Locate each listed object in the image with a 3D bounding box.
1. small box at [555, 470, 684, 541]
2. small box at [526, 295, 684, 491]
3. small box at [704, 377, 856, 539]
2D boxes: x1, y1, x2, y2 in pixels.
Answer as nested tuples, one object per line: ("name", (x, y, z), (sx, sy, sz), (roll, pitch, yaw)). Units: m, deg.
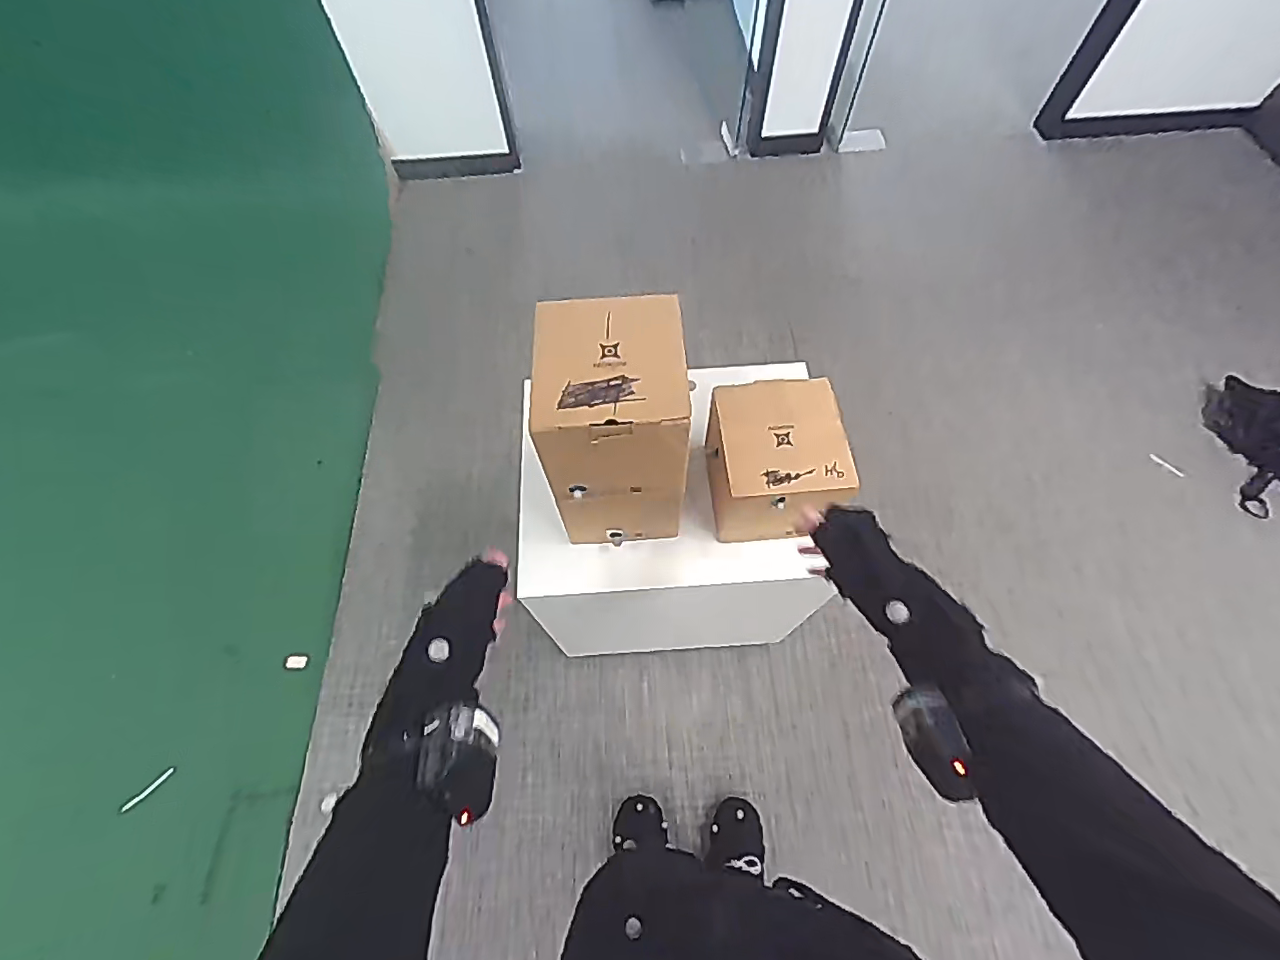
("small box", (-0.031, -0.026, 0.785), (0.168, 0.176, 0.179), (-6, 65, -1))
("small box", (-0.034, -0.094, 0.653), (0.168, 0.176, 0.179), (-3, 62, 0))
("small box", (0.189, -0.027, 0.794), (0.168, 0.176, 0.179), (-4, 63, -1))
